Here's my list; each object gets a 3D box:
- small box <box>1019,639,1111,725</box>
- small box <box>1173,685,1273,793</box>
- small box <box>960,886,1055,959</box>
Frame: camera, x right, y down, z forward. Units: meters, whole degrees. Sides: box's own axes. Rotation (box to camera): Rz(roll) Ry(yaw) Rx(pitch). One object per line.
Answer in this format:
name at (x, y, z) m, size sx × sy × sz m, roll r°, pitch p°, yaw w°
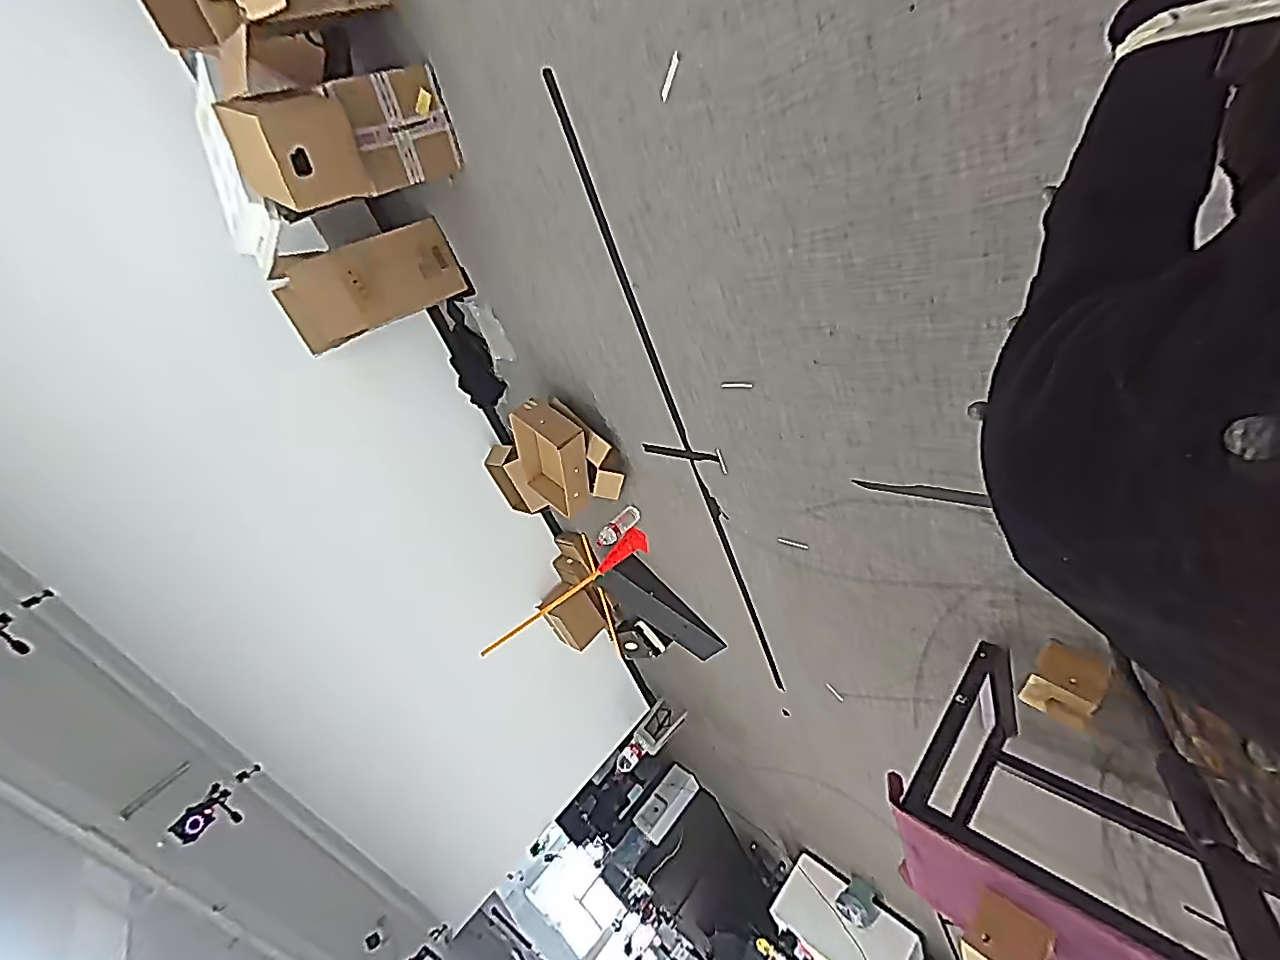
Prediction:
small box at (1.387, 0.651, 1.766) m, size 0.179 × 0.176 × 0.168 m, roll 26°, pitch 143°, yaw 34°
small box at (1.624, 0.715, 1.507) m, size 0.168 × 0.176 × 0.179 m, roll 11°, pitch 132°, yaw 49°
small box at (1.018, 1.277, 1.500) m, size 0.179 × 0.176 × 0.168 m, roll 13°, pitch 136°, yaw 47°
